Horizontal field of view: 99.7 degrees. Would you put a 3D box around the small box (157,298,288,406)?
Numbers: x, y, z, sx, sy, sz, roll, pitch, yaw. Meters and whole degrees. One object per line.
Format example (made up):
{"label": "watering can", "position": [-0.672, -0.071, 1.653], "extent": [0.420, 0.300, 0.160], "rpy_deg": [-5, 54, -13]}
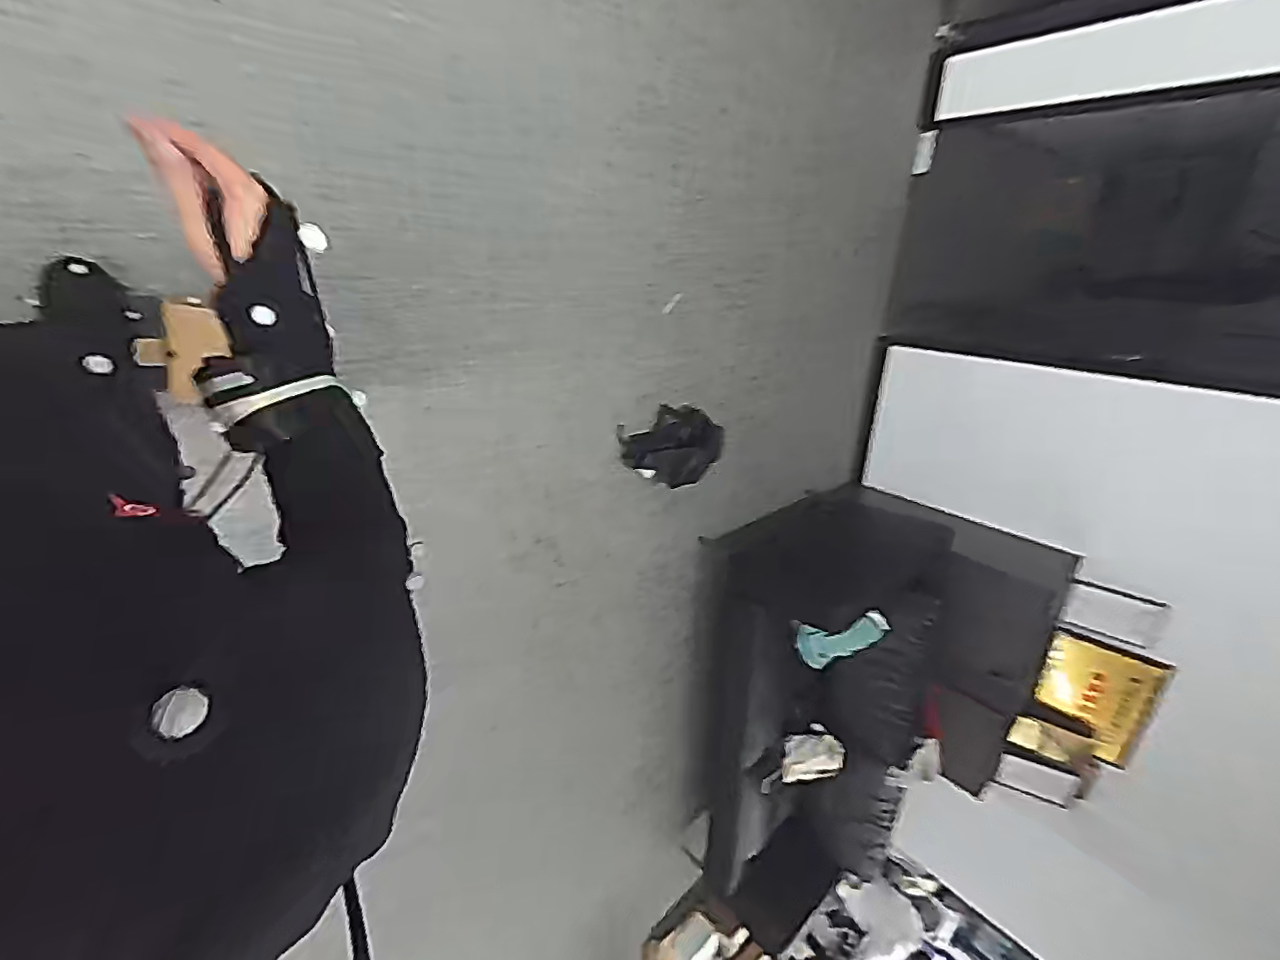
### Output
{"label": "small box", "position": [-0.782, -0.241, 1.015], "extent": [0.179, 0.176, 0.168], "rpy_deg": [-5, 112, -42]}
